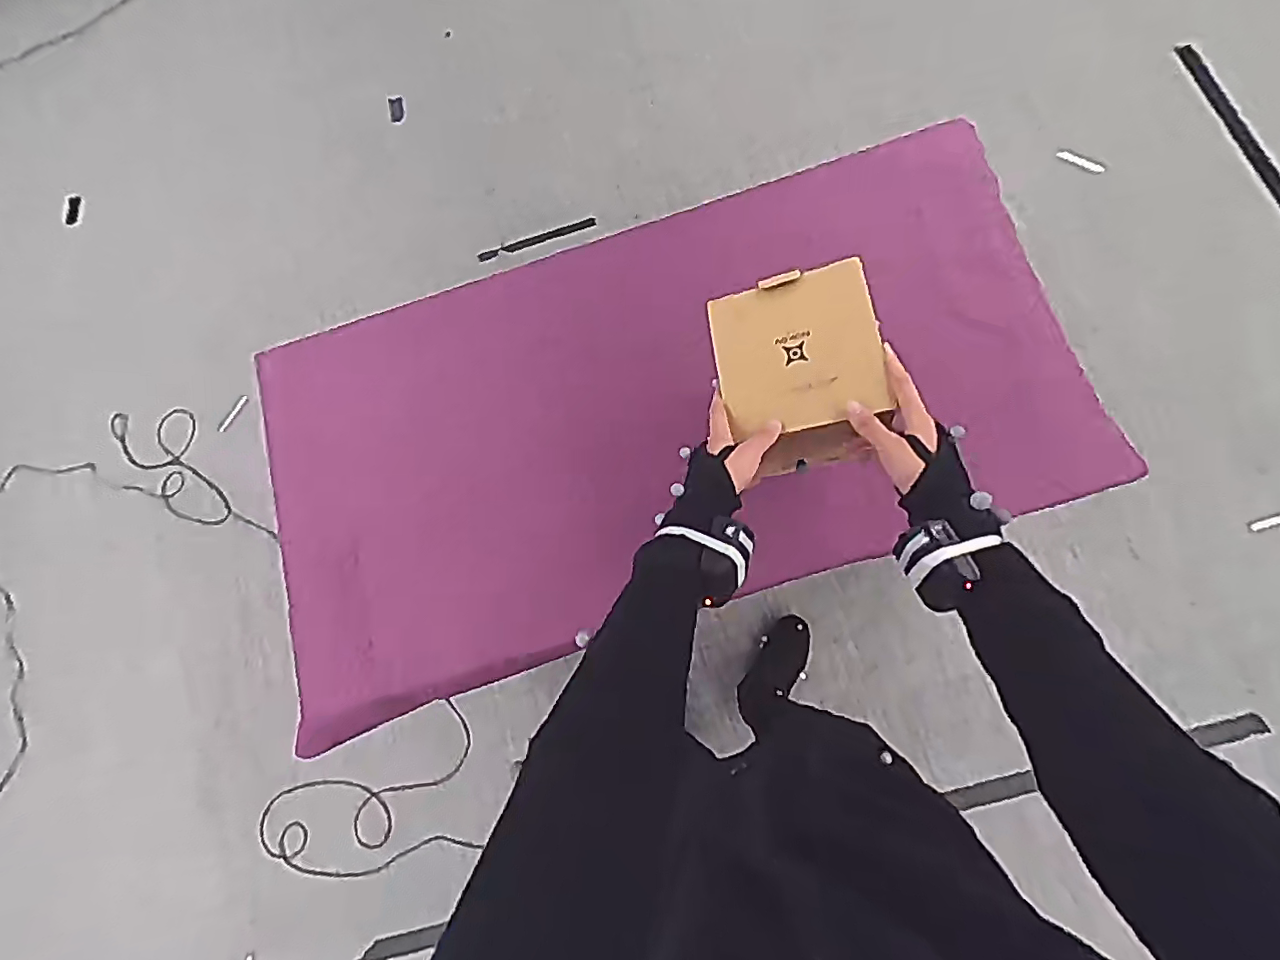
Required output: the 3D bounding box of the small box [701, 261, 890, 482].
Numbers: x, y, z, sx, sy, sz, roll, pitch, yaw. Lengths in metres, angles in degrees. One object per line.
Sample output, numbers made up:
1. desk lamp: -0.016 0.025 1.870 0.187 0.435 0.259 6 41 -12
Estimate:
1. small box: 0.178 -0.112 0.629 0.168 0.176 0.179 -12 73 18
